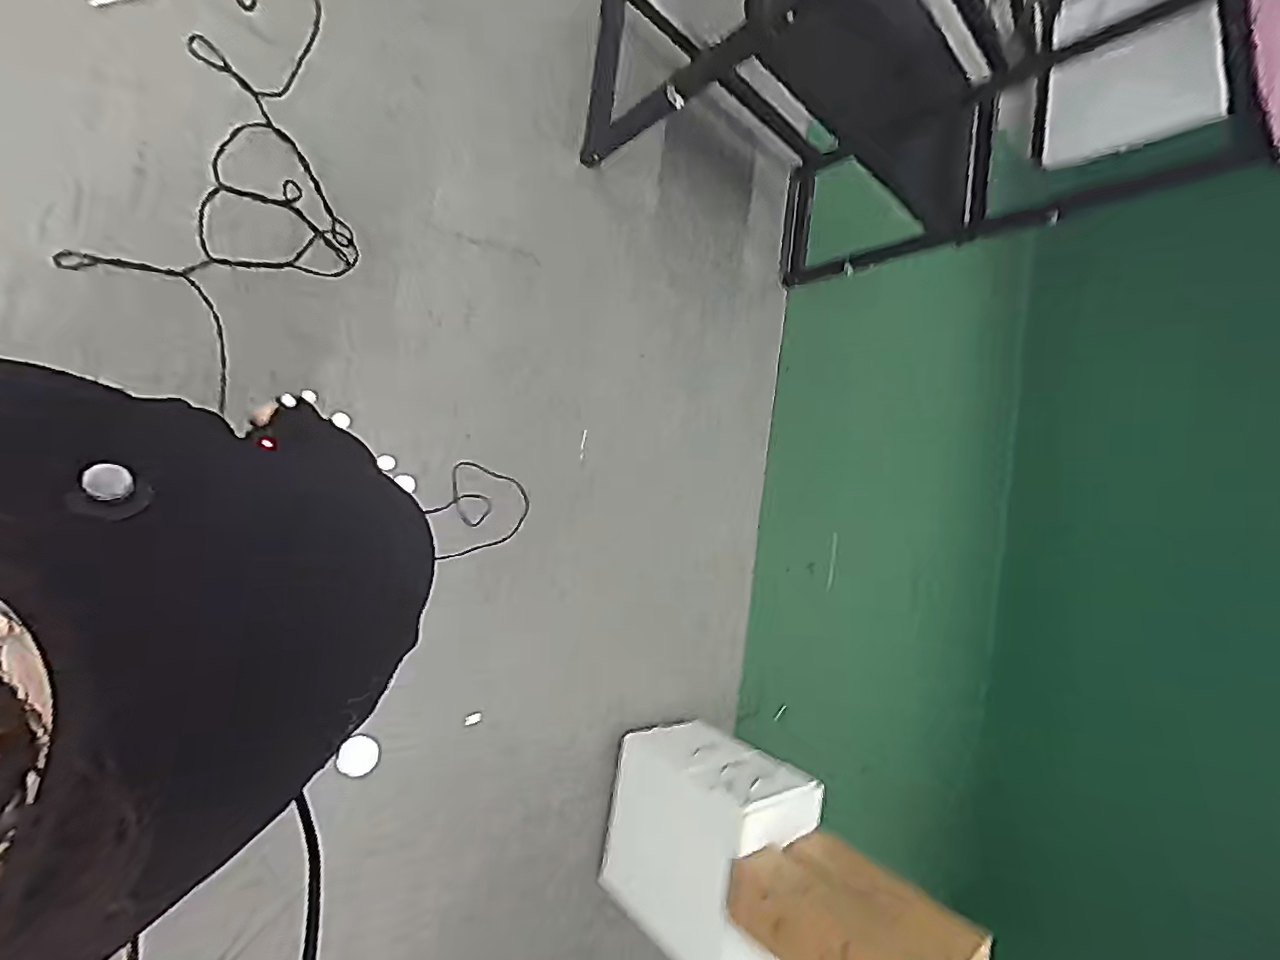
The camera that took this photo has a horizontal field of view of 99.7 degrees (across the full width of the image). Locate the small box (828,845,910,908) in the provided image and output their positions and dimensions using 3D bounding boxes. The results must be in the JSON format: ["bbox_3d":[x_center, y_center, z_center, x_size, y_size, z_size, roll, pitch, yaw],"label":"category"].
[{"bbox_3d":[0.637,1.189,1.534,0.179,0.176,0.168,4,92,-40],"label":"small box"}]

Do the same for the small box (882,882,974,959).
[{"bbox_3d":[0.739,1.204,1.409,0.179,0.176,0.168,5,91,-39],"label":"small box"}]
